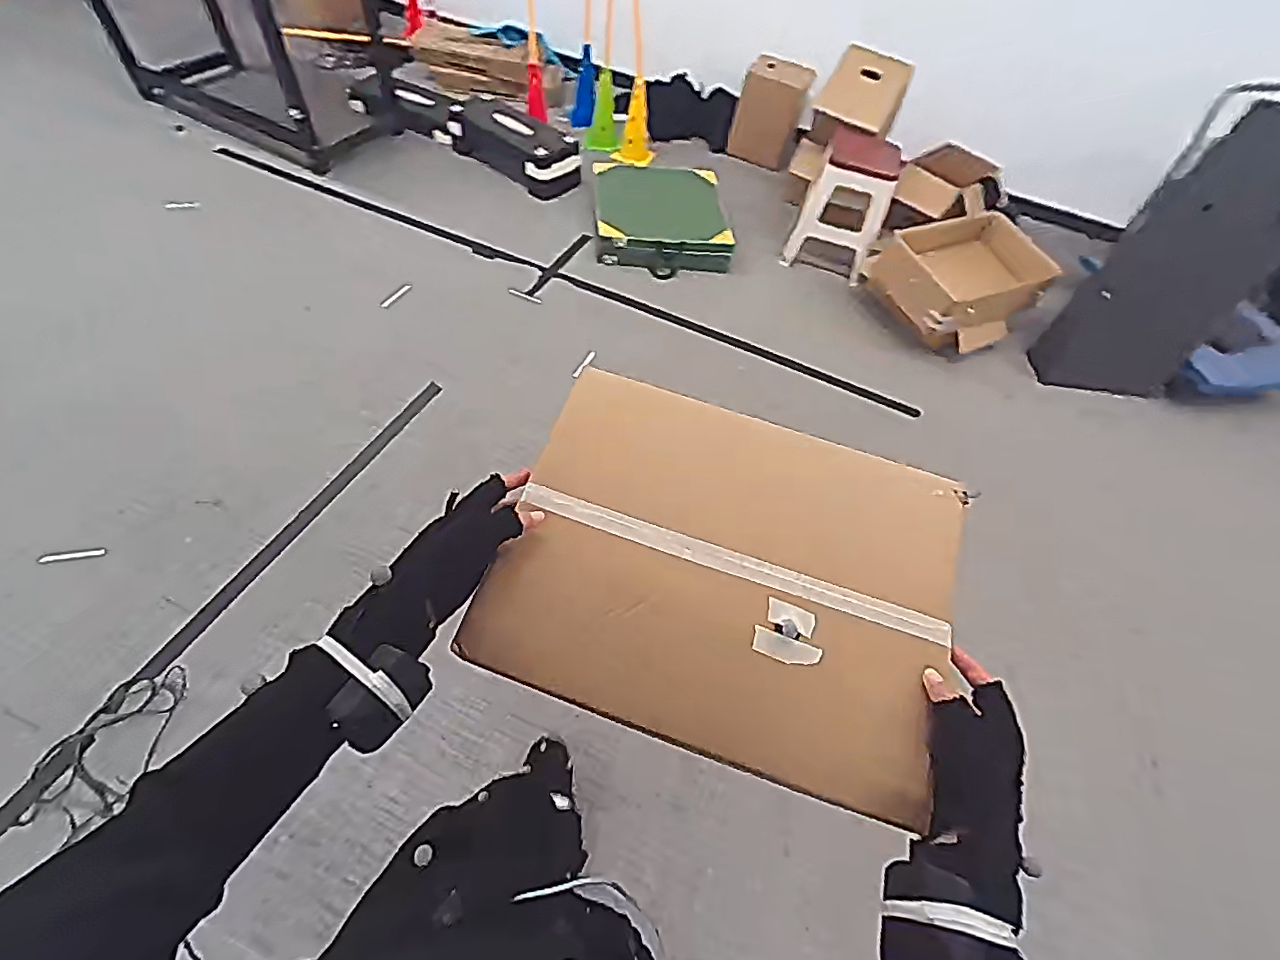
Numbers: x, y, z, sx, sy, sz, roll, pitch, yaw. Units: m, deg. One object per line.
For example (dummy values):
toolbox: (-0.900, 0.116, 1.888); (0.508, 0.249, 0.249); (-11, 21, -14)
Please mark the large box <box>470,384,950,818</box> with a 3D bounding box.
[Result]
large box: (0.075, 0.144, 0.647); (0.408, 0.320, 0.320); (19, 67, 6)
